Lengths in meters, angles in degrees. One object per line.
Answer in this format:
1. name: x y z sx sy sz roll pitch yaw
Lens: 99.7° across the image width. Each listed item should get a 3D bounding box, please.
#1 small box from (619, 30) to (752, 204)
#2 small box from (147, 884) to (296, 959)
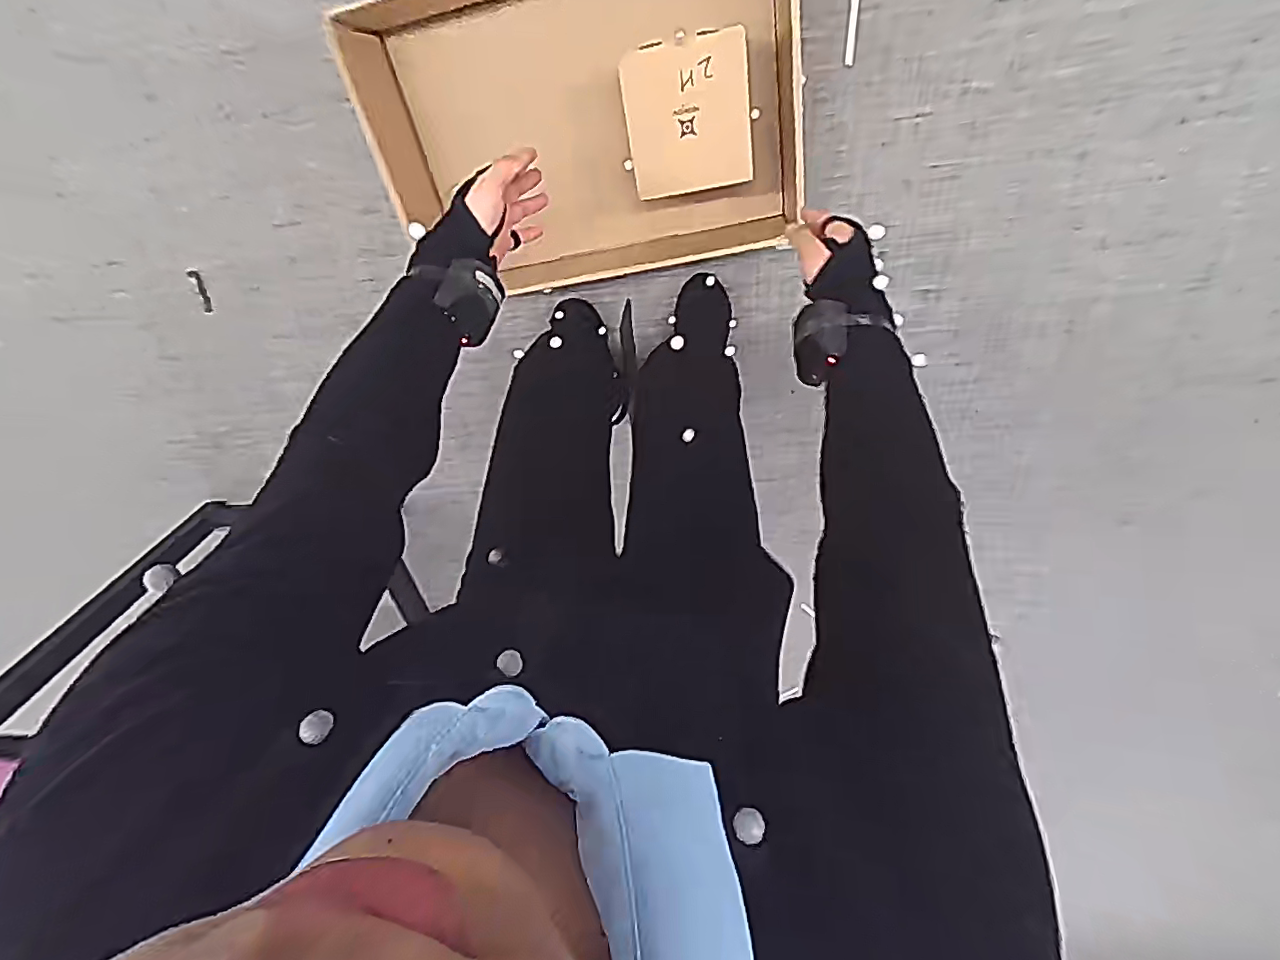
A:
1. small box: 0.072 -0.524 0.789 0.168 0.176 0.179 -5 124 9
2. small box: -0.844 0.940 1.086 0.168 0.176 0.179 -2 125 7
